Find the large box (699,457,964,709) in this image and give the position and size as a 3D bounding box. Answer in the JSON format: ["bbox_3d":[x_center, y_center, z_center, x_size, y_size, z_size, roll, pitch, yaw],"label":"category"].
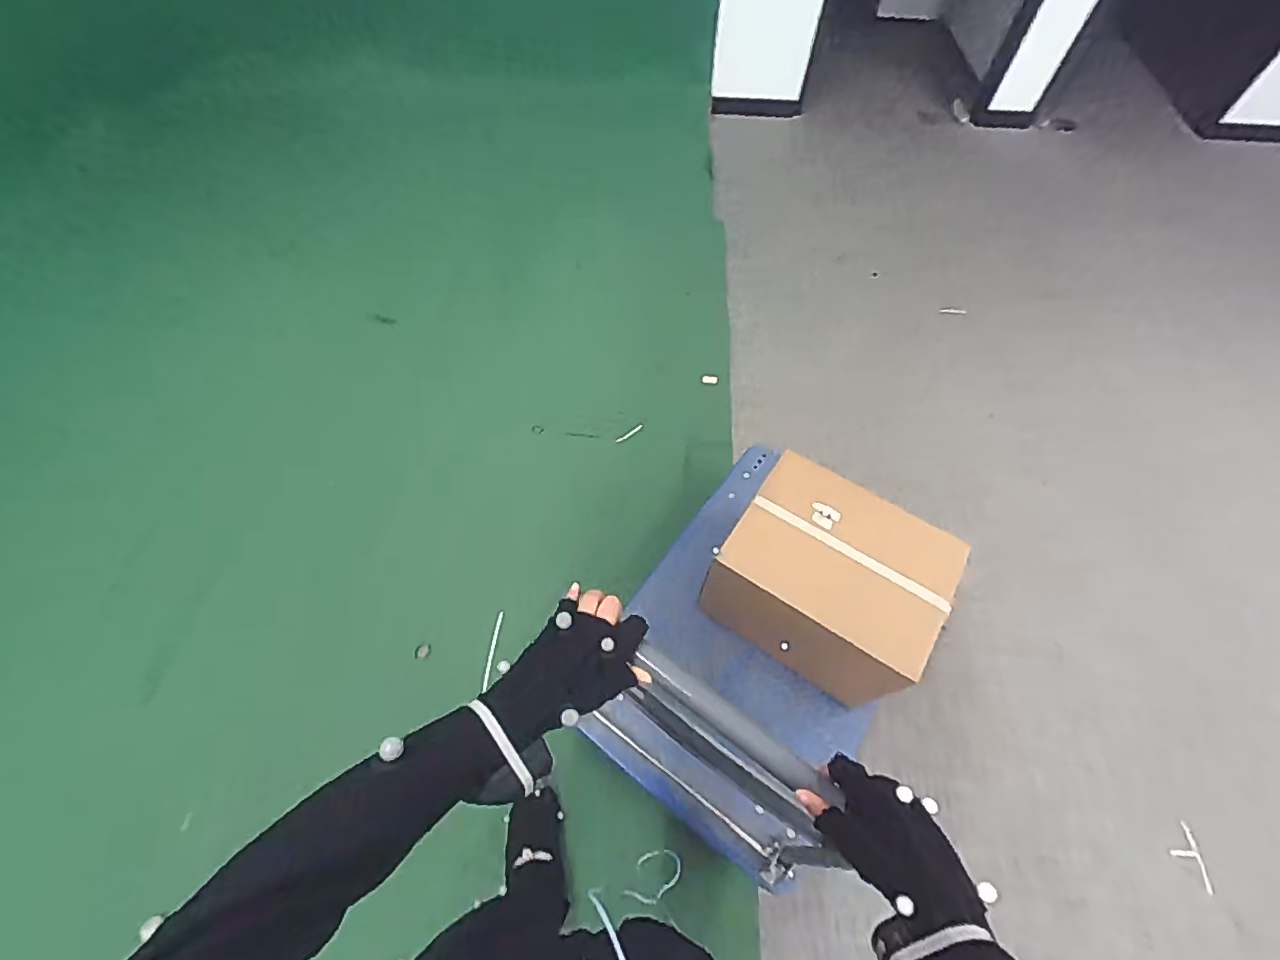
[{"bbox_3d":[0.385,0.226,1.165,0.408,0.320,0.320,30,62,17],"label":"large box"}]
